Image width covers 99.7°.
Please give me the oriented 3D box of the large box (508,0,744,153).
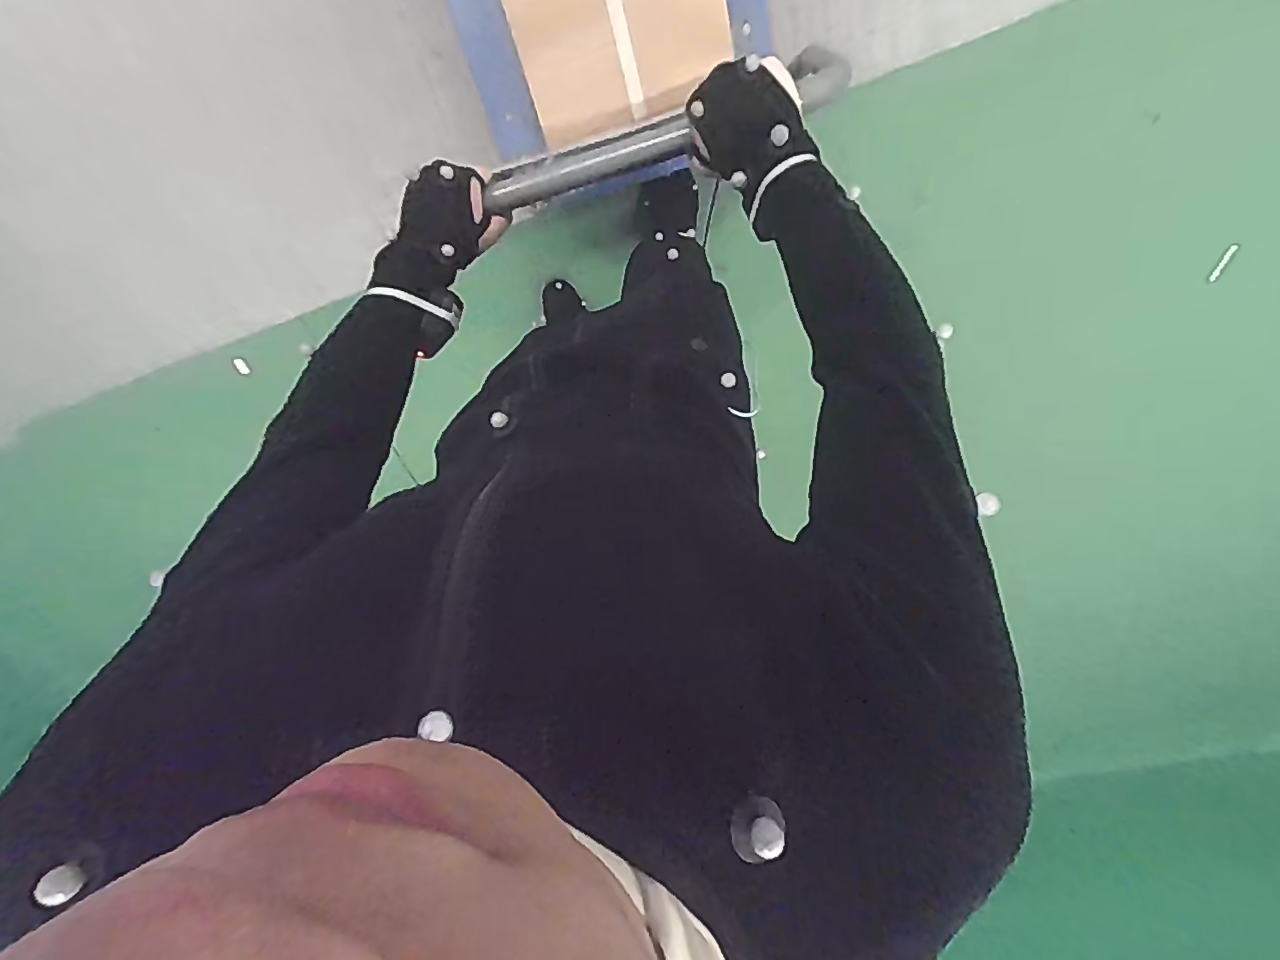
[{"bbox_3d":[-0.033,-0.801,0.870,0.320,0.320,0.408,-12,121,10],"label":"large box"}]
